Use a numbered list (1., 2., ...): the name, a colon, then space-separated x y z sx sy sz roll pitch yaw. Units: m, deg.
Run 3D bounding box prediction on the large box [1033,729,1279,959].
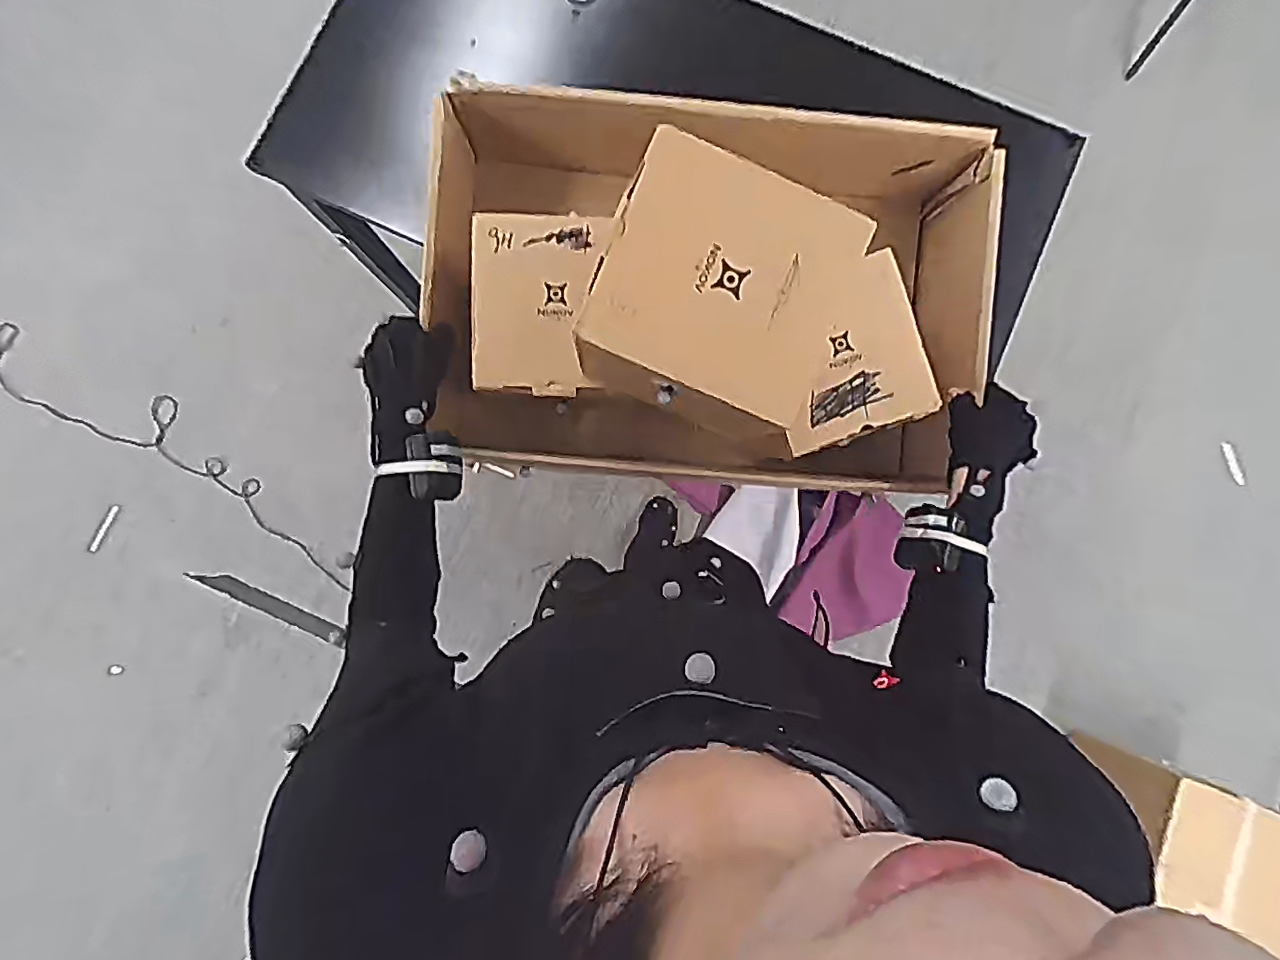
1. large box: 1.257 0.898 1.318 0.320 0.320 0.408 20 85 2
